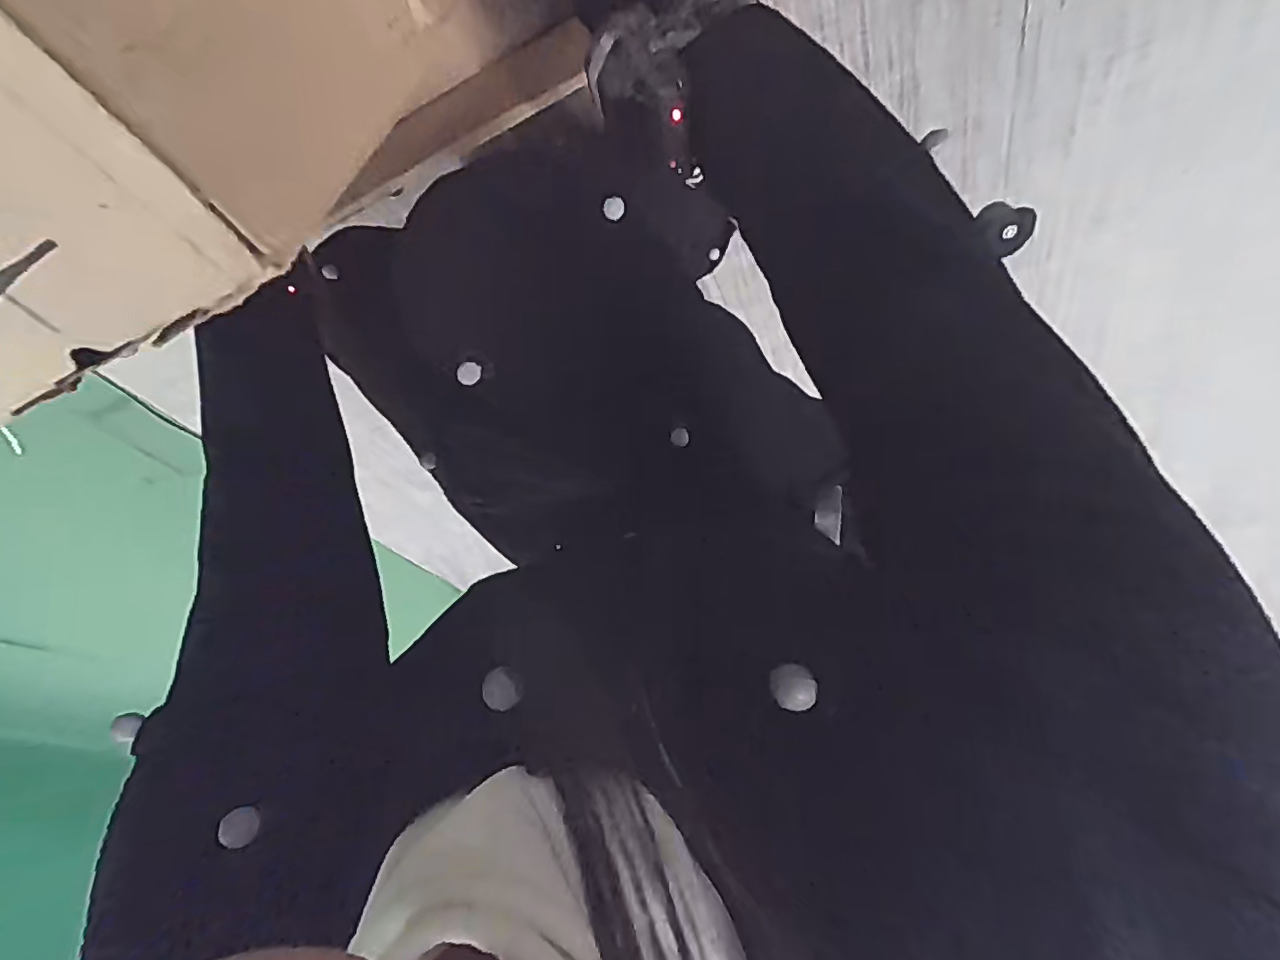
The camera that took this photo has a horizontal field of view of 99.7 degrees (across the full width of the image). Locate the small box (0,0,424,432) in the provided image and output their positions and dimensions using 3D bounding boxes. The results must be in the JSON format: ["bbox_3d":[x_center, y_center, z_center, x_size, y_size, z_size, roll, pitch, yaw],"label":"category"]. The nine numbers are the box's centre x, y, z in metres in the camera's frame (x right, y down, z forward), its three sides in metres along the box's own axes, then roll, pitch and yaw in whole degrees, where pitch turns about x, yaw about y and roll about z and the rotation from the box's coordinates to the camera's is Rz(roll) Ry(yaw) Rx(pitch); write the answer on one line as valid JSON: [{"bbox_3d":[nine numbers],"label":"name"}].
[{"bbox_3d":[-0.198,-0.148,0.161,0.168,0.176,0.179,-15,139,20],"label":"small box"}]
